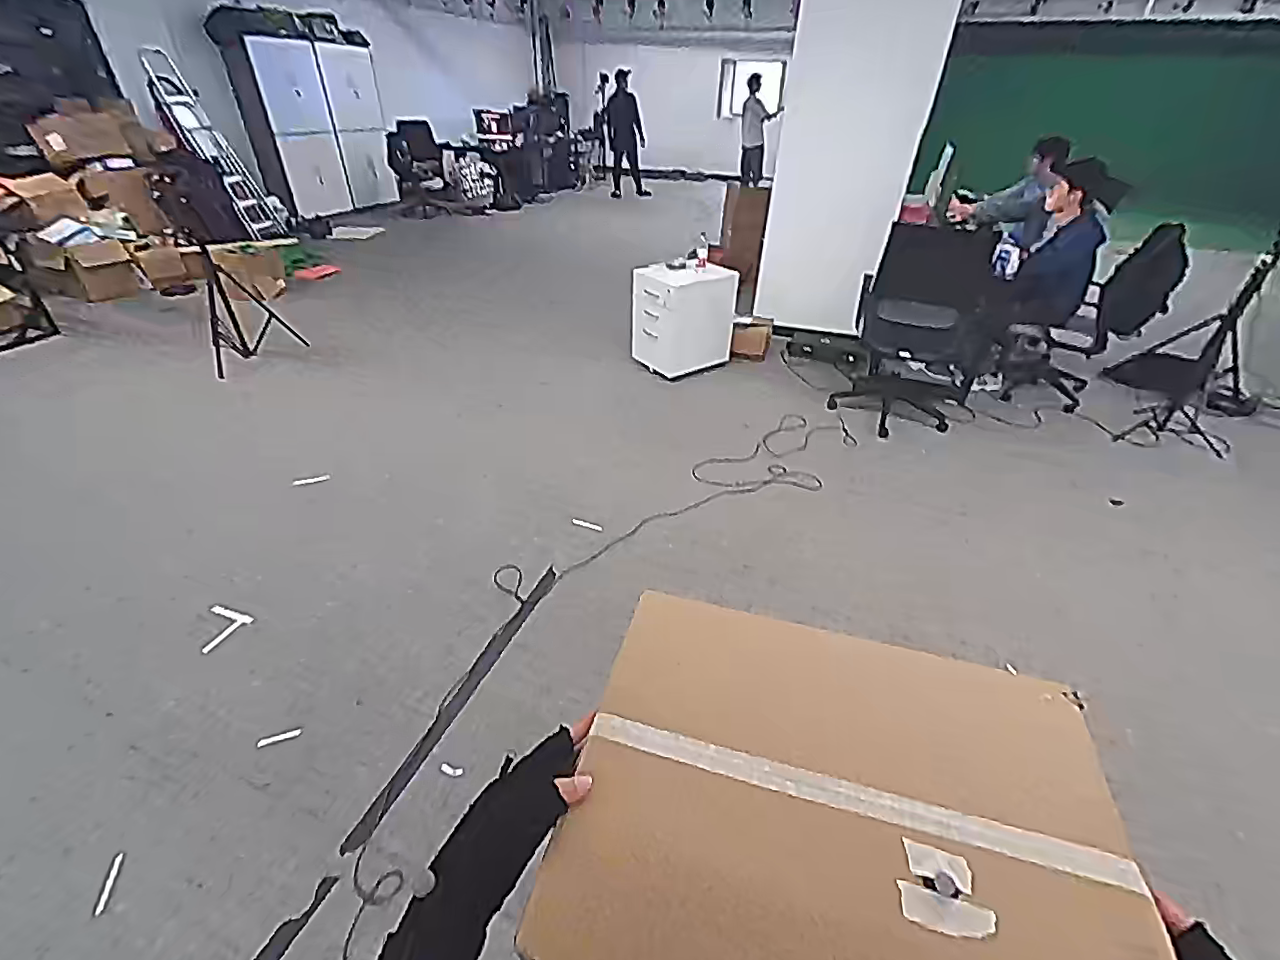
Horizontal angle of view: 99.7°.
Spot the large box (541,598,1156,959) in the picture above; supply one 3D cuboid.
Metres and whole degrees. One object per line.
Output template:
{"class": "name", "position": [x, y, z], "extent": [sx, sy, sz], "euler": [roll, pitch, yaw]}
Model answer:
{"class": "large box", "position": [0.159, 0.368, 0.526], "extent": [0.408, 0.320, 0.320], "euler": [11, 40, 13]}
